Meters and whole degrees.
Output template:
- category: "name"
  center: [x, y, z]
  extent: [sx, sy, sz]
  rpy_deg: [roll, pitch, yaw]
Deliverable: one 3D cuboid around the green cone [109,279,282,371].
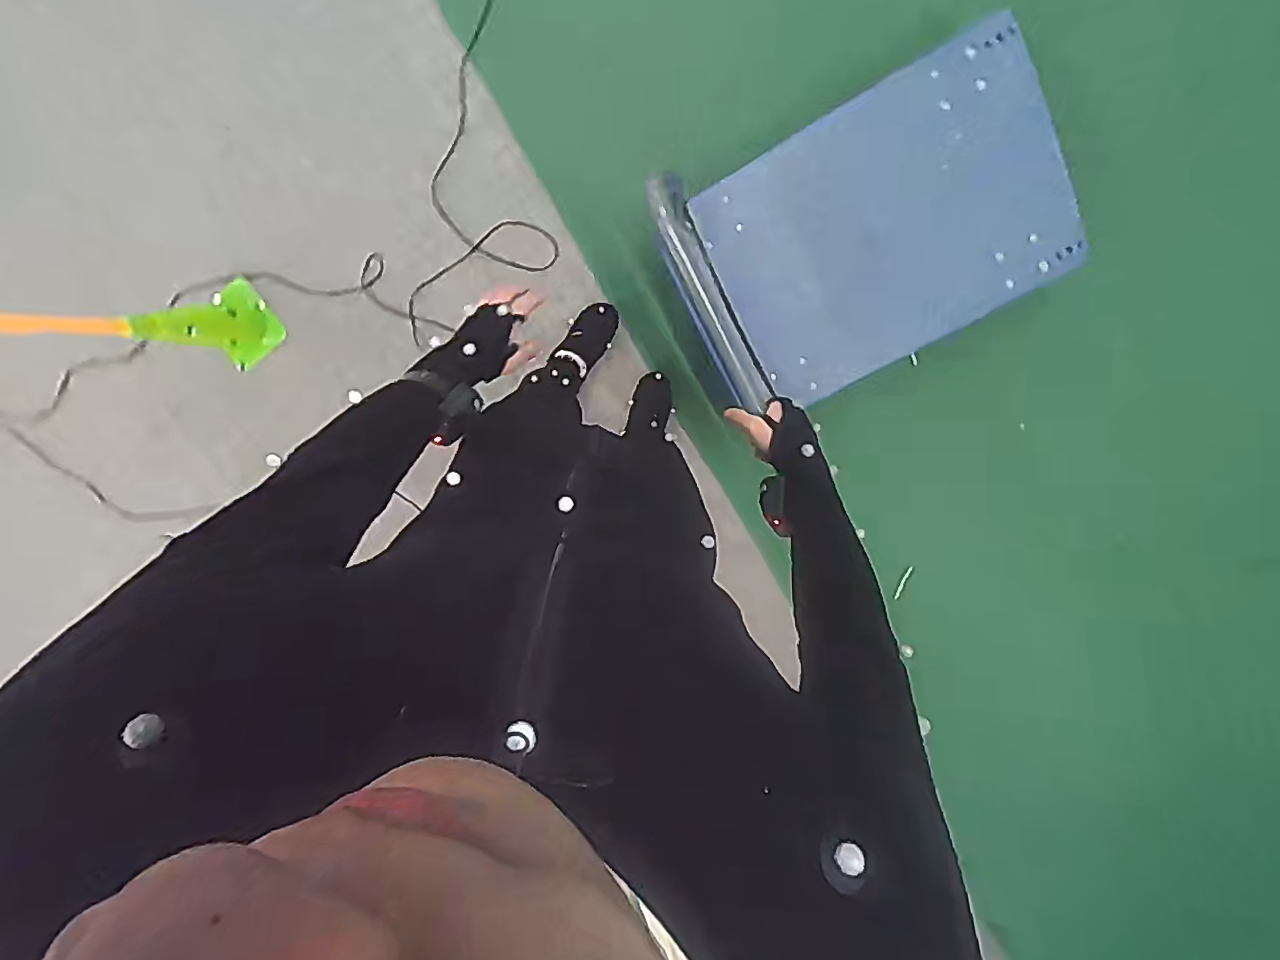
- category: "green cone"
  center: [-1.172, -0.402, 1.401]
  extent: [0.200, 0.368, 0.202]
  rpy_deg: [-33, 100, 12]
